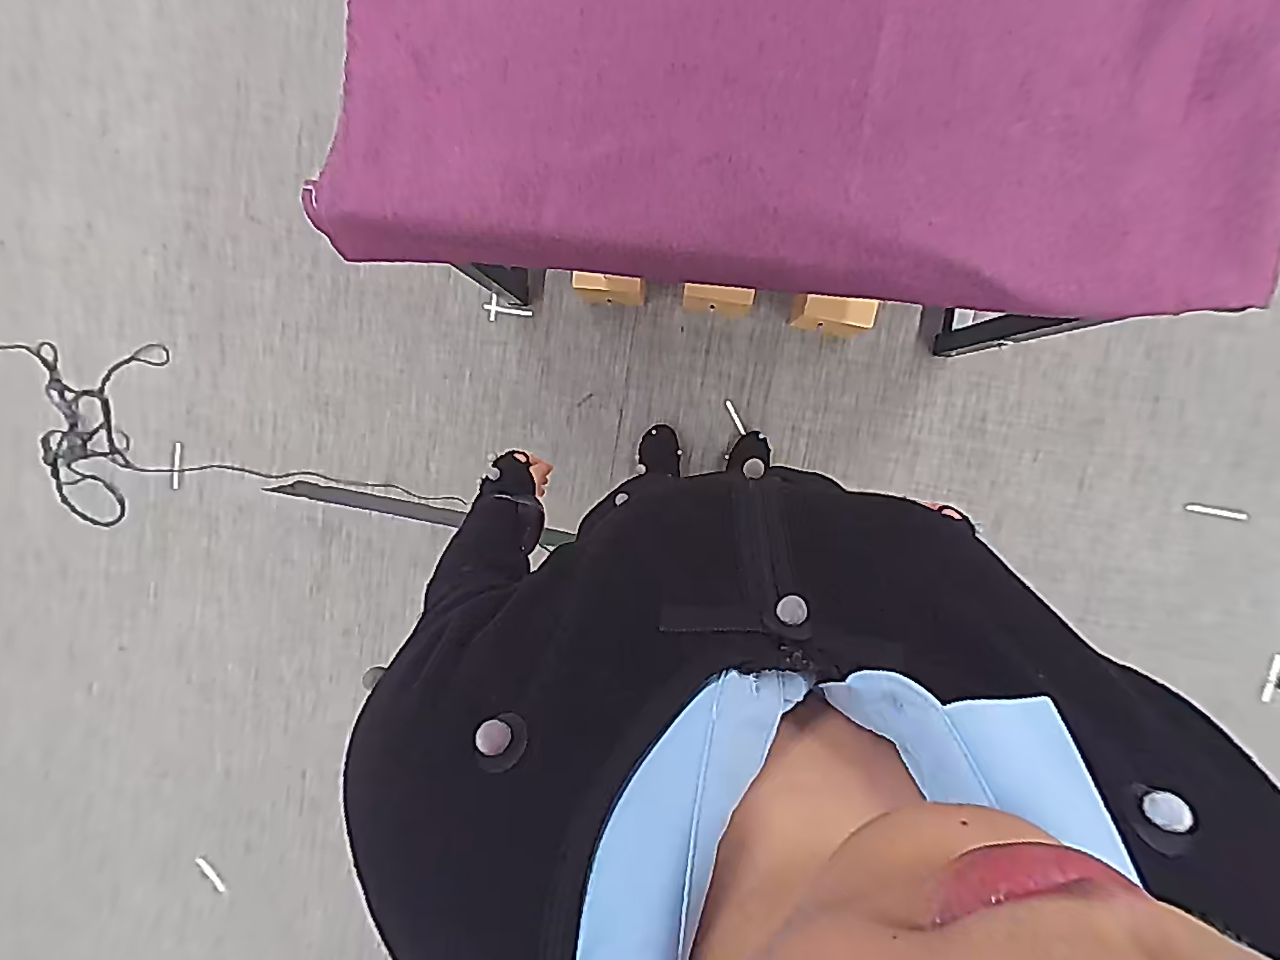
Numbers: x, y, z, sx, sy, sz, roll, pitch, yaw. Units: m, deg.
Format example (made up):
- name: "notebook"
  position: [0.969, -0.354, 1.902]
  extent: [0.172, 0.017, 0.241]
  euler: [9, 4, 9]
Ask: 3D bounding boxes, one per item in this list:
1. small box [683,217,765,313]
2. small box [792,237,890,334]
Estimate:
- name: "small box"
  position: [0.204, -0.527, 1.350]
  extent: [0.168, 0.176, 0.179]
  euler: [10, 97, 2]
- name: "small box"
  position: [0.488, -0.472, 1.342]
  extent: [0.168, 0.176, 0.179]
  euler: [13, 97, 2]
